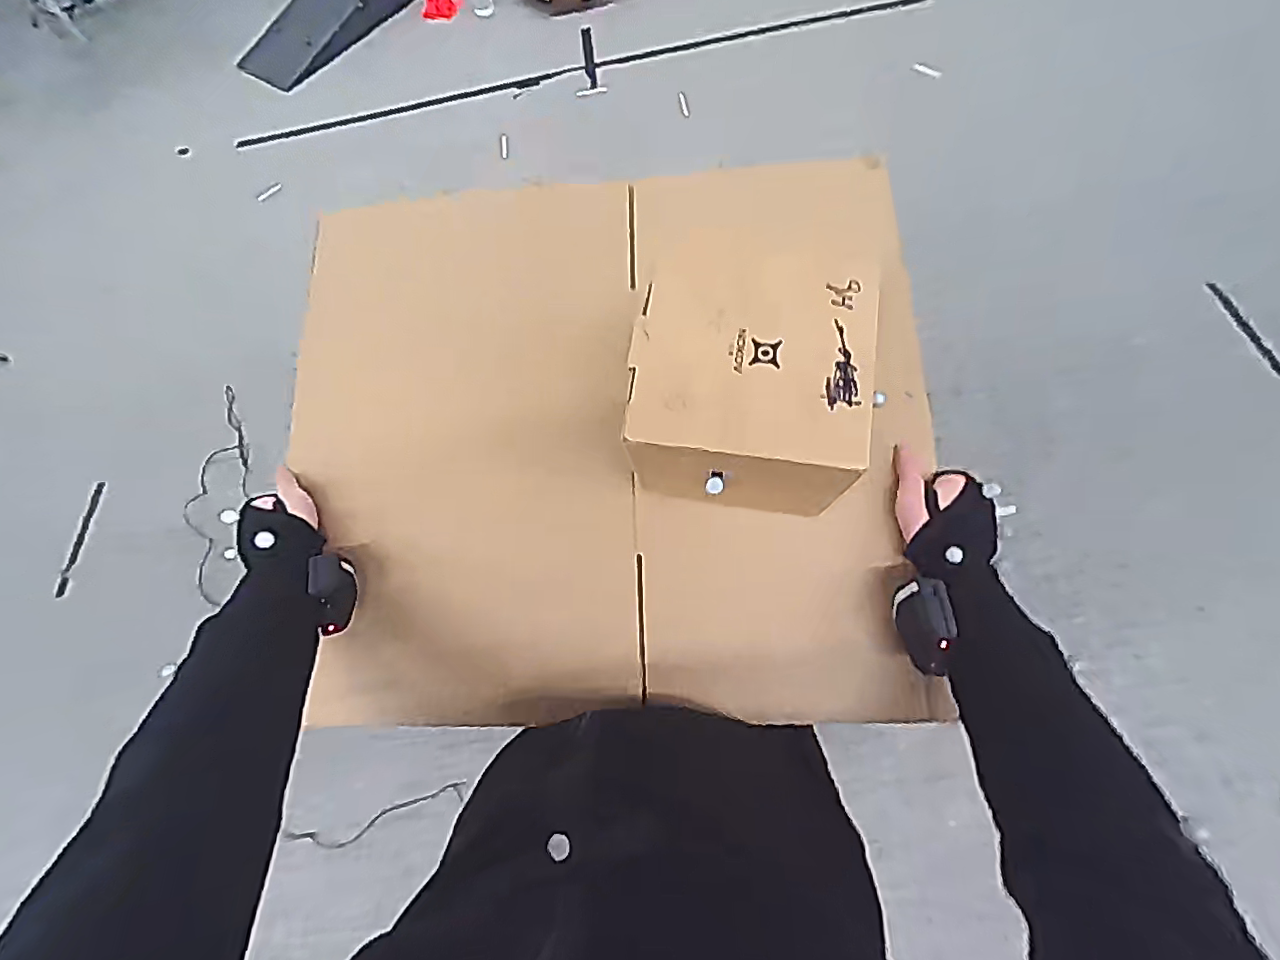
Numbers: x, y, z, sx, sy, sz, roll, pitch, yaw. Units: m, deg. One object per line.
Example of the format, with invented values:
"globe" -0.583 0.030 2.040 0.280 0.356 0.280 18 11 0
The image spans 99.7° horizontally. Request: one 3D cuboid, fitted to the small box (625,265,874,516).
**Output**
"small box" 0.096 -0.069 0.492 0.179 0.176 0.168 7 76 9
